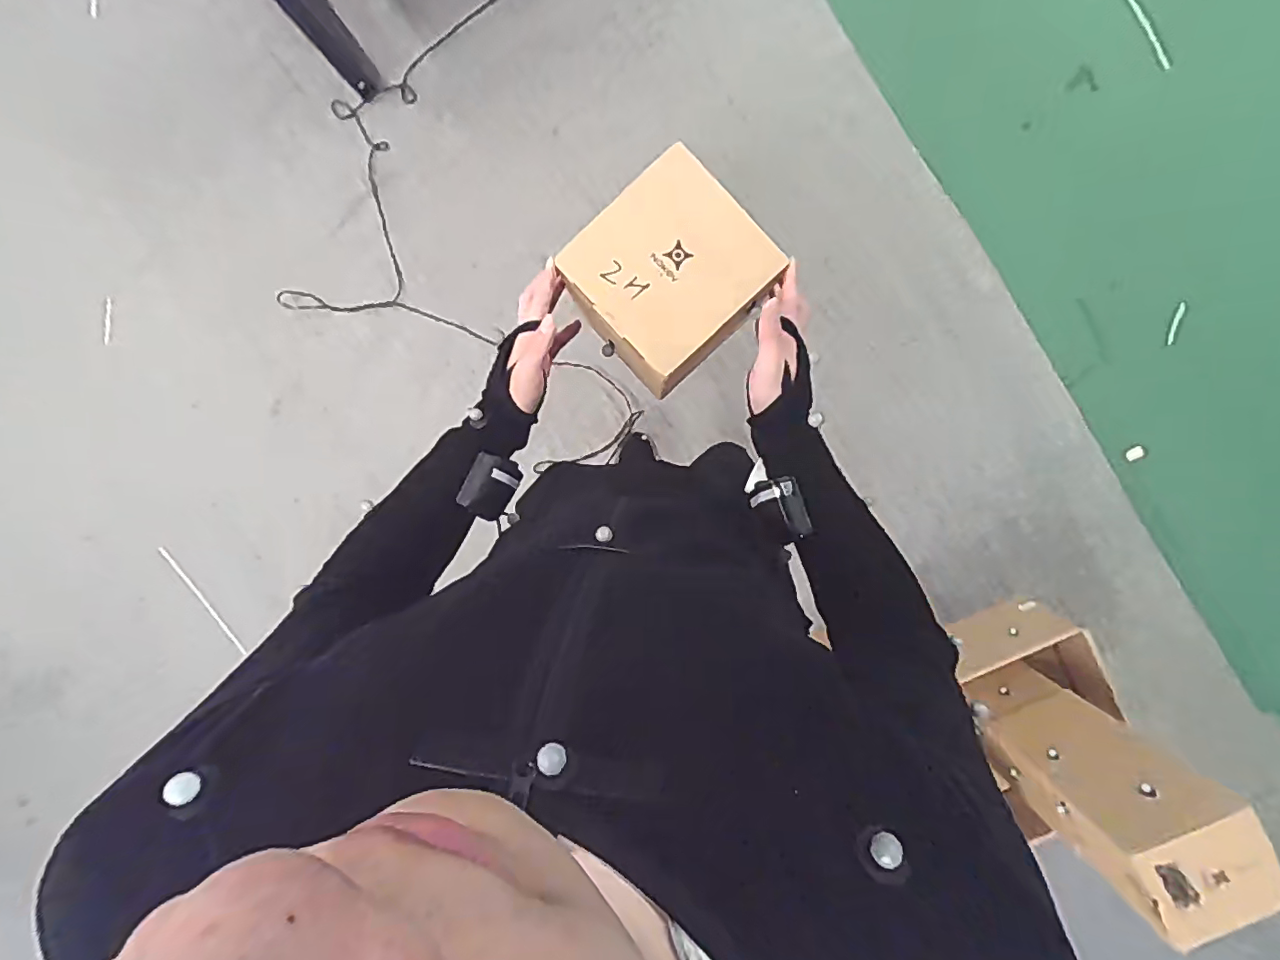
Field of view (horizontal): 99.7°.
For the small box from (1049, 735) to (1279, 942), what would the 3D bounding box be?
[{"bbox_3d":[0.779,0.535,0.829,0.179,0.176,0.168,-28,95,6],"label":"small box"}]
